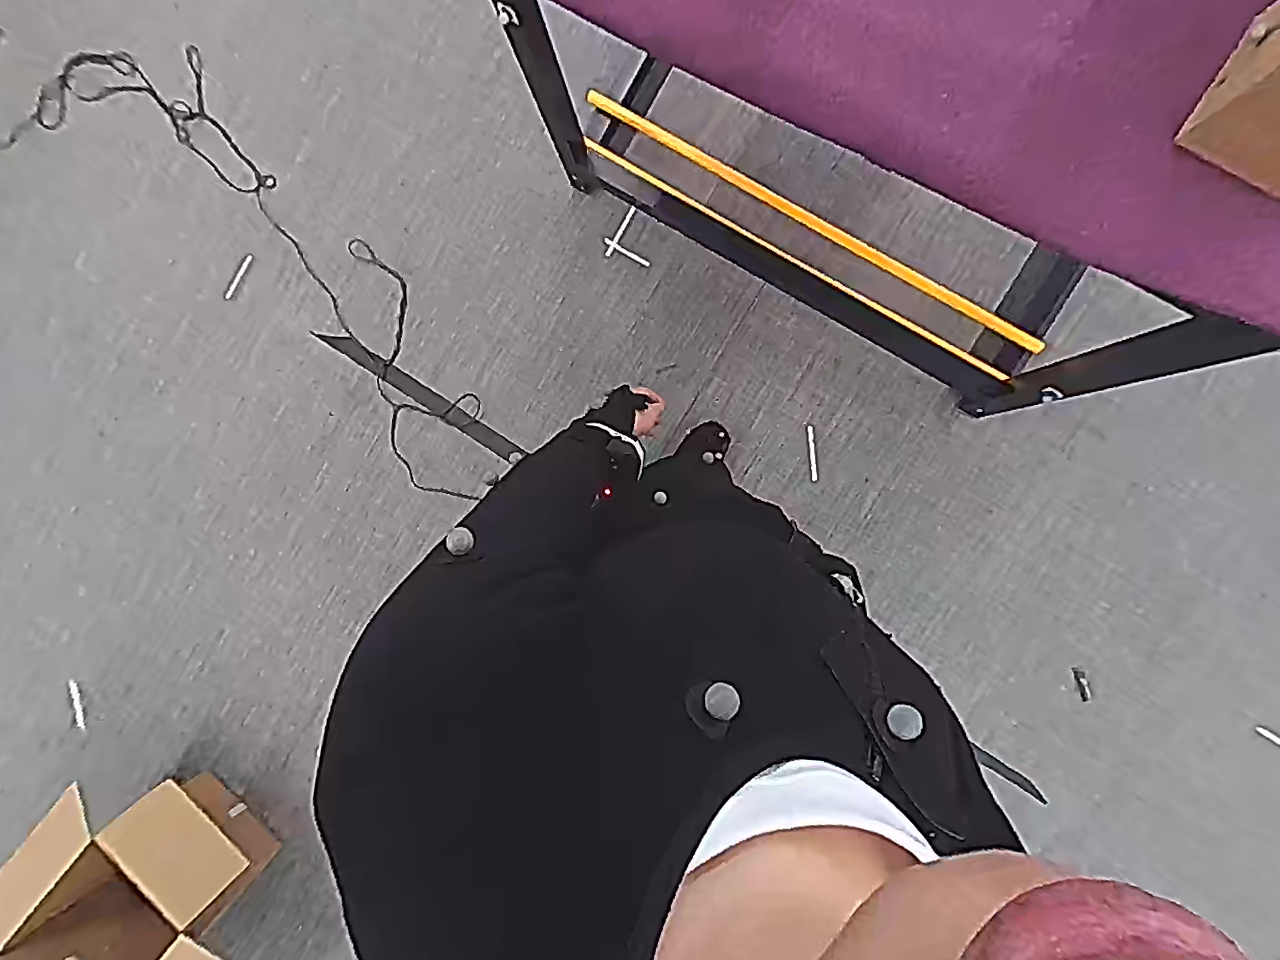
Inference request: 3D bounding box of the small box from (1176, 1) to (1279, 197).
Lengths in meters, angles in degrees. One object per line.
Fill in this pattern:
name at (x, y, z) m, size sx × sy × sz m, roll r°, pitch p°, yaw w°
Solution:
small box at (0.696, -0.398, 0.510) m, size 0.179 × 0.176 × 0.168 m, roll 34°, pitch 92°, yaw 5°
